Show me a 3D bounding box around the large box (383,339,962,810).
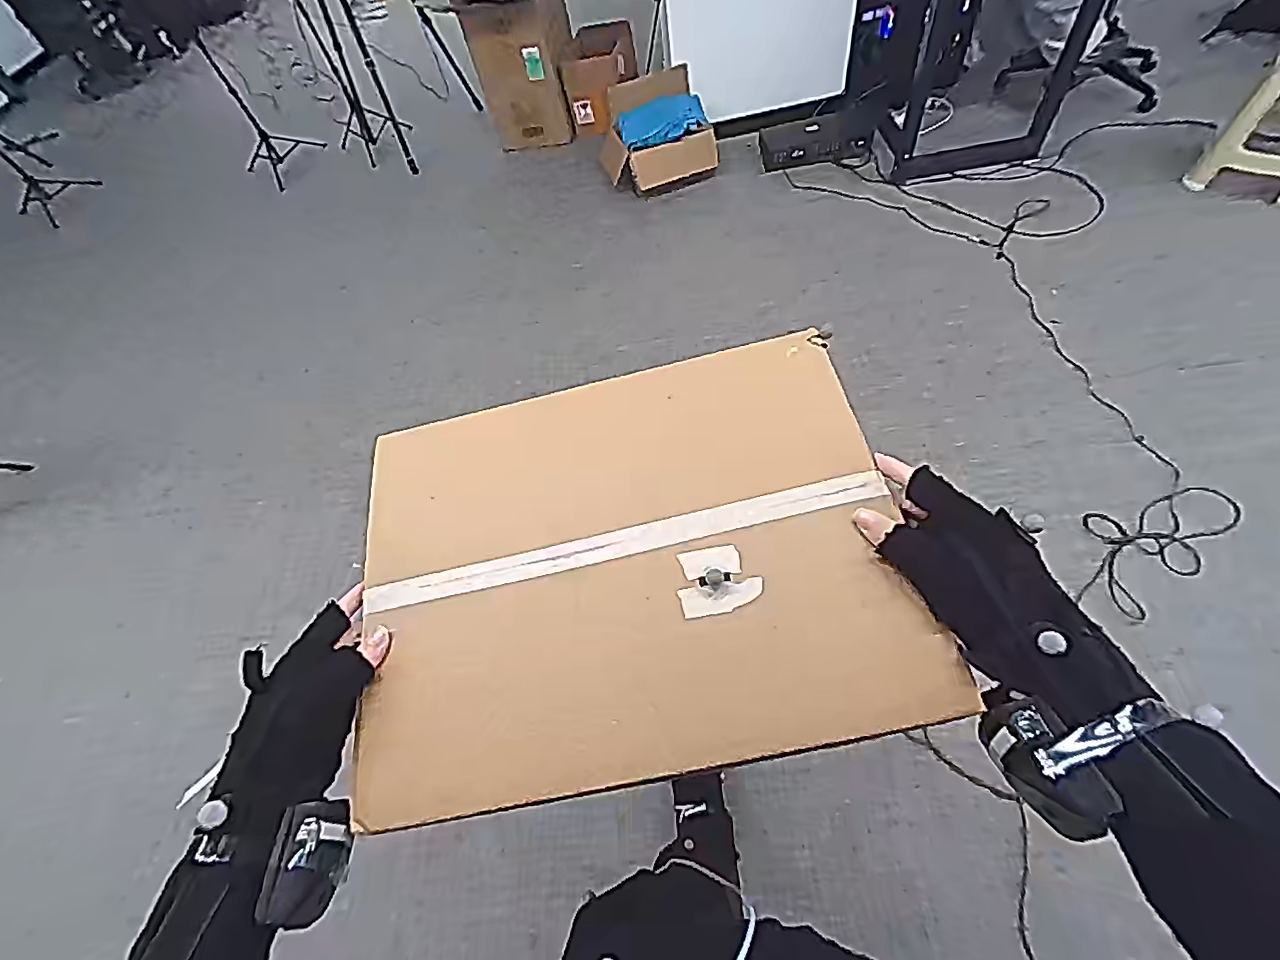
[{"bbox_3d":[0.013,0.116,0.557,0.408,0.320,0.320,-13,62,3],"label":"large box"}]
